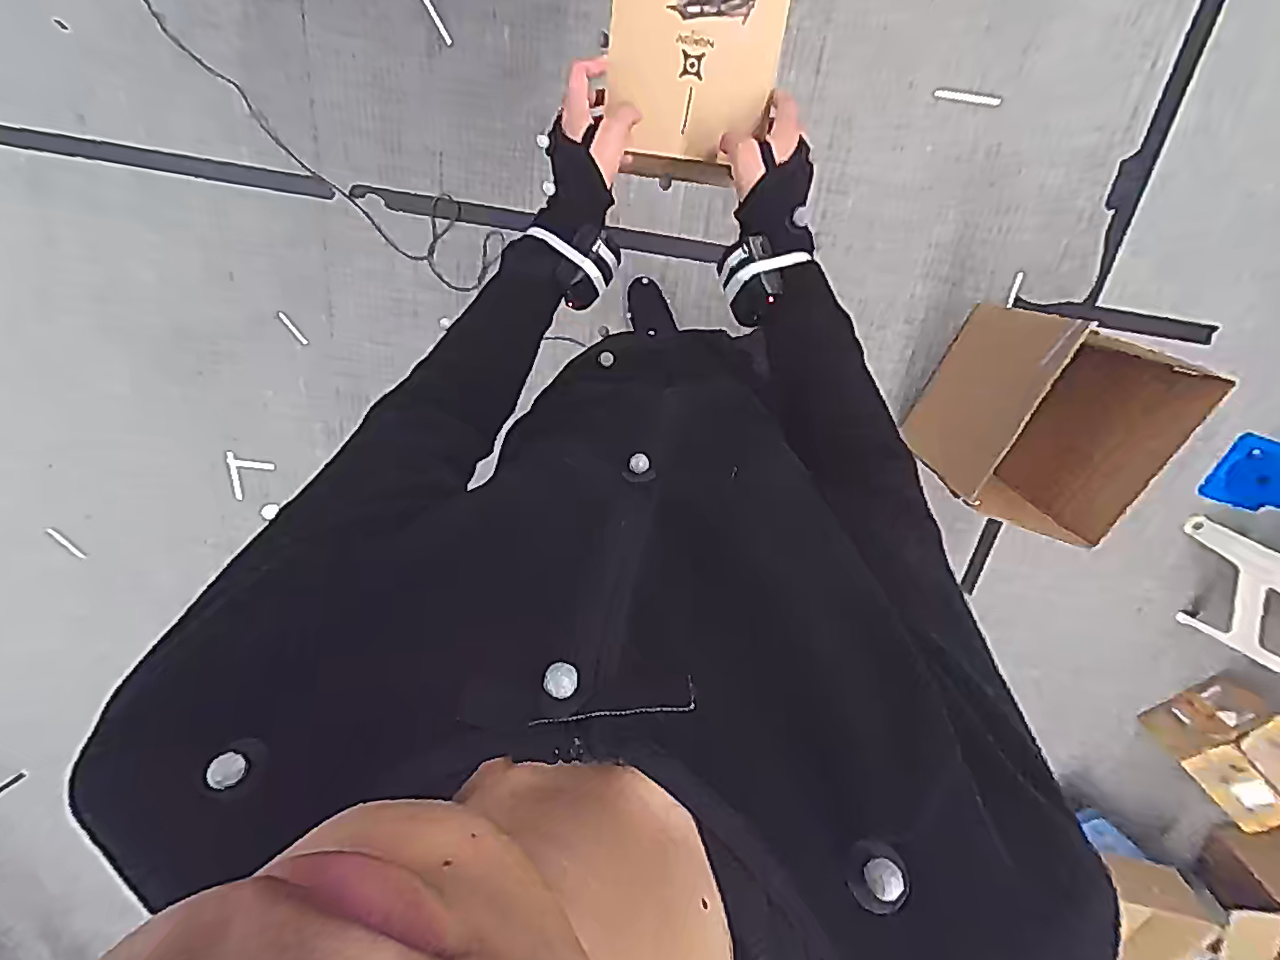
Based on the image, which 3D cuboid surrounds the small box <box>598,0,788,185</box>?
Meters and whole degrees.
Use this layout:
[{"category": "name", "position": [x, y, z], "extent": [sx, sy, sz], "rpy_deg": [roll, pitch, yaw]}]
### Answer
[{"category": "small box", "position": [0.045, -0.431, 0.577], "extent": [0.168, 0.176, 0.179], "rpy_deg": [5, 113, -4]}]
